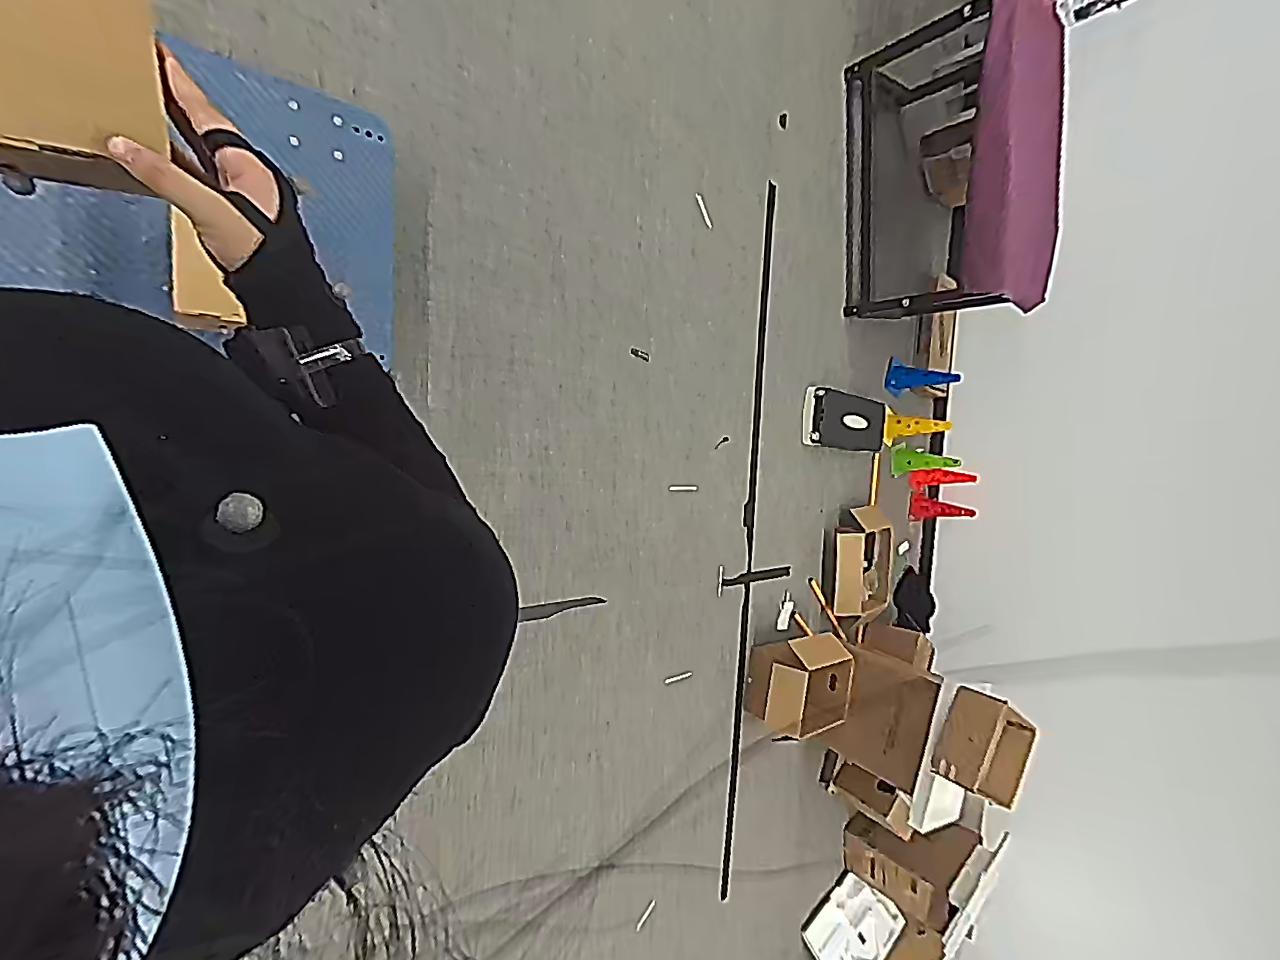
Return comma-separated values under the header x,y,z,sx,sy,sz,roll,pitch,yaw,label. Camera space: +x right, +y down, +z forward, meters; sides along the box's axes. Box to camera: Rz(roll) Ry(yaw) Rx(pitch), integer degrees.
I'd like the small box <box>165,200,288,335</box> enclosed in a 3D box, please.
x,y,z,sx,sy,sz,roll,pitch,yaw,label
-0.750,-0.370,0.979,0.168,0.176,0.179,-2,97,-41,small box

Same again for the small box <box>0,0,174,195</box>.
x,y,z,sx,sy,sz,roll,pitch,yaw,label
-0.402,-0.292,0.325,0.168,0.176,0.179,-8,111,-40,small box
